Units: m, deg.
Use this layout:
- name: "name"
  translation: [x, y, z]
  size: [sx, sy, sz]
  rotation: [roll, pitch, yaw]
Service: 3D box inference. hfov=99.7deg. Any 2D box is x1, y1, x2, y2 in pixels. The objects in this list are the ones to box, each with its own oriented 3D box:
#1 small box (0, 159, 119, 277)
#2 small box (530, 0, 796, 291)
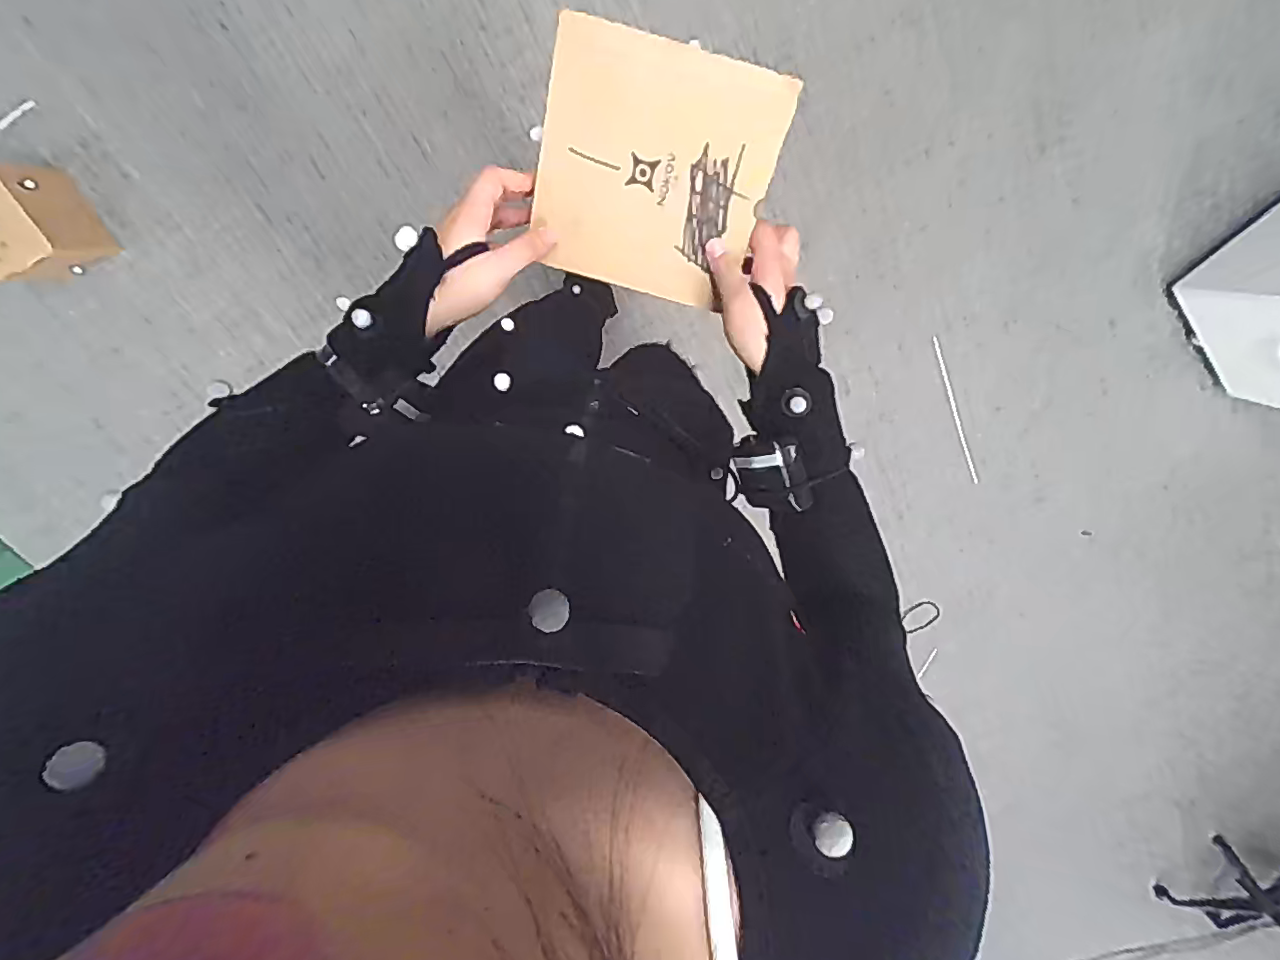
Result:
- name: "small box"
  translation: [-1.278, -0.539, 1.129]
  size: [0.168, 0.176, 0.179]
  rotation: [-21, 114, 6]
- name: "small box"
  translation: [0.006, -0.289, 0.487]
  size: [0.179, 0.176, 0.168]
  rotation: [10, 119, -11]
